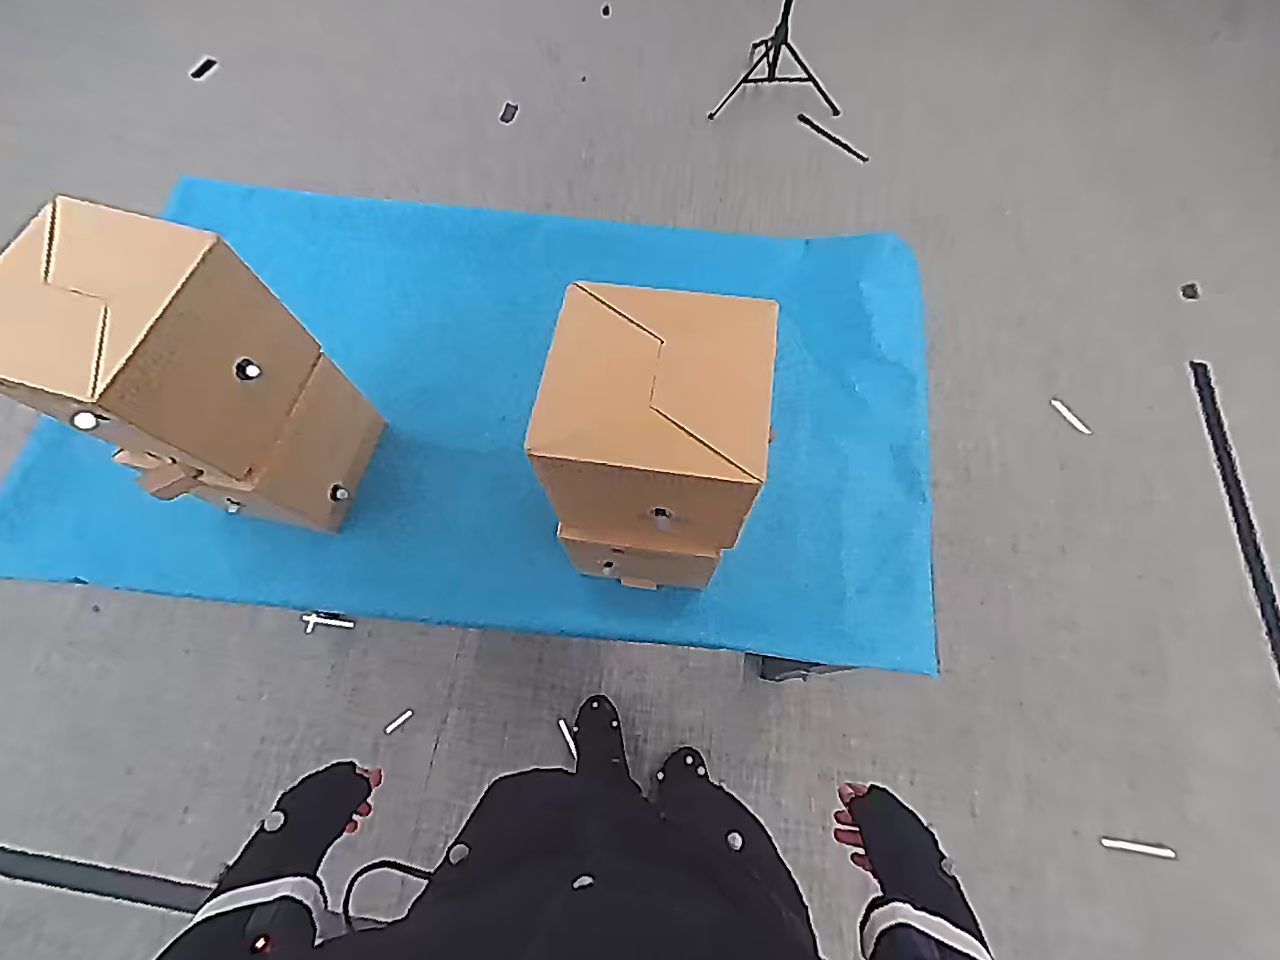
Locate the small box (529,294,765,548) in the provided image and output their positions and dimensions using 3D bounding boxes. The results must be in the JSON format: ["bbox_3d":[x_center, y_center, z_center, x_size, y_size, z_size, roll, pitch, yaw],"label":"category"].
[{"bbox_3d":[0.016,-0.047,0.497,0.179,0.176,0.168,7,66,6],"label":"small box"}]

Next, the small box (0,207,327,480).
[{"bbox_3d":[-0.460,-0.125,0.525,0.168,0.176,0.179,15,70,6],"label":"small box"}]

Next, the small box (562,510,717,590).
[{"bbox_3d":[0.009,0.020,0.646,0.168,0.176,0.179,7,67,3],"label":"small box"}]

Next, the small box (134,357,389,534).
[{"bbox_3d":[-0.455,-0.052,0.673,0.168,0.176,0.179,12,69,4],"label":"small box"}]
